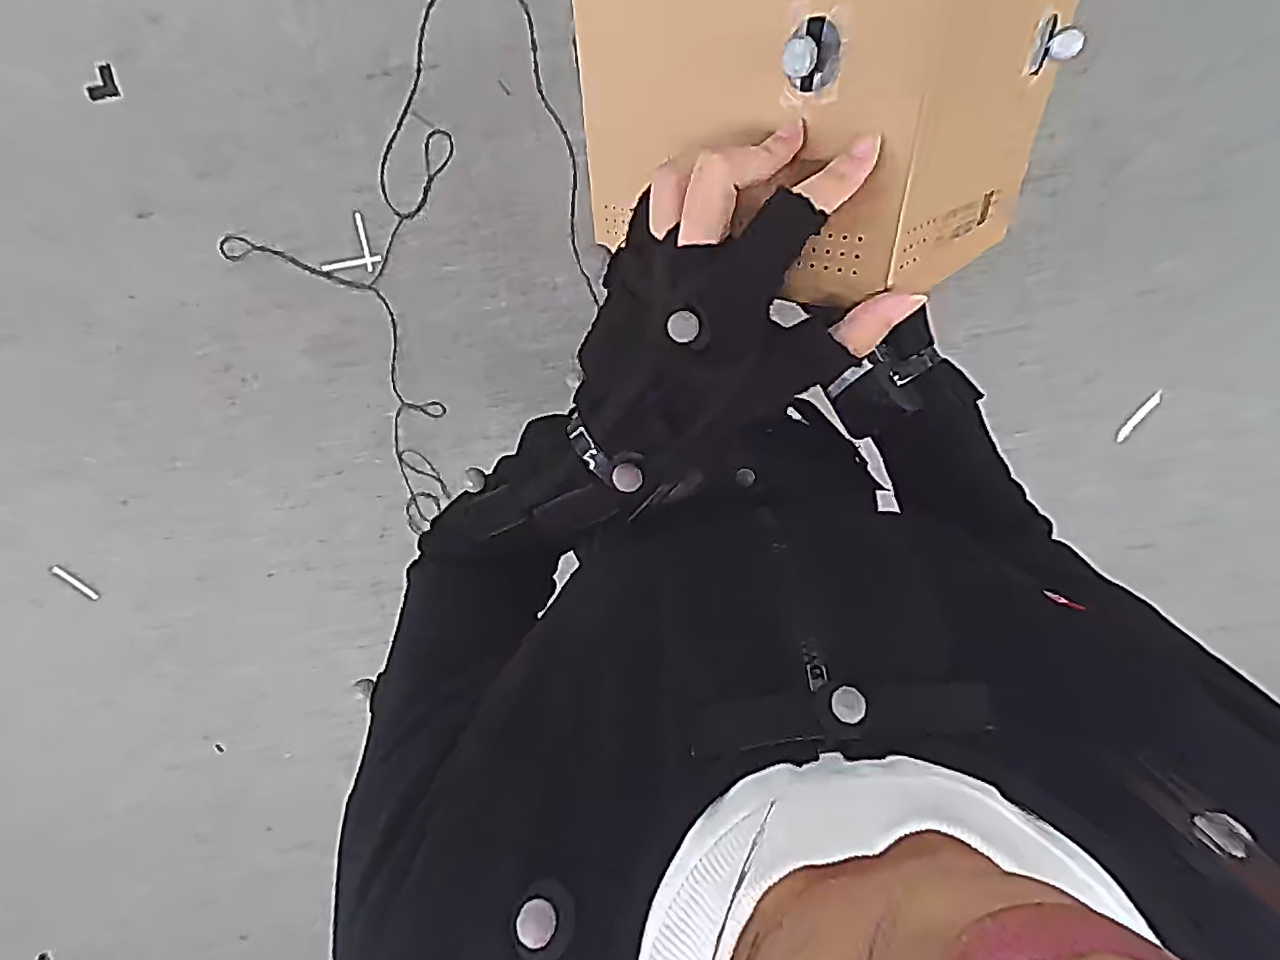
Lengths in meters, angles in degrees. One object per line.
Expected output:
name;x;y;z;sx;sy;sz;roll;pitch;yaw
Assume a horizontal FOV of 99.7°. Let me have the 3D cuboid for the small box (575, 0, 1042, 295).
small box;0.087;-0.208;0.285;0.168;0.179;0.176;-33;135;-35
